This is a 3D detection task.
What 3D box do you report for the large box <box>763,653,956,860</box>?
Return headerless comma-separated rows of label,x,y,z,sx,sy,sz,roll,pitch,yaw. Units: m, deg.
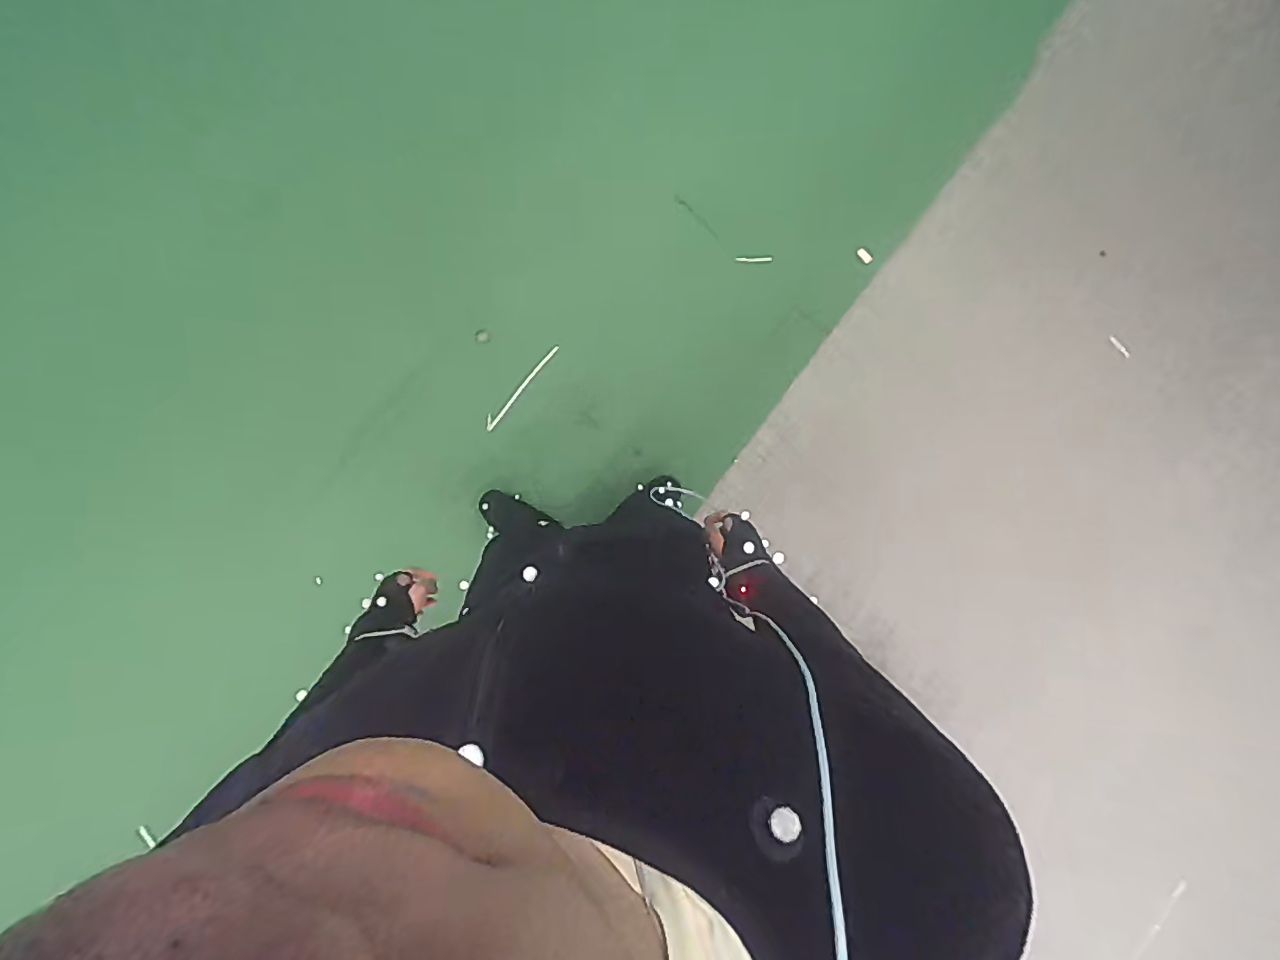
large box,0.652,0.823,1.659,0.320,0.320,0.408,37,85,-10
